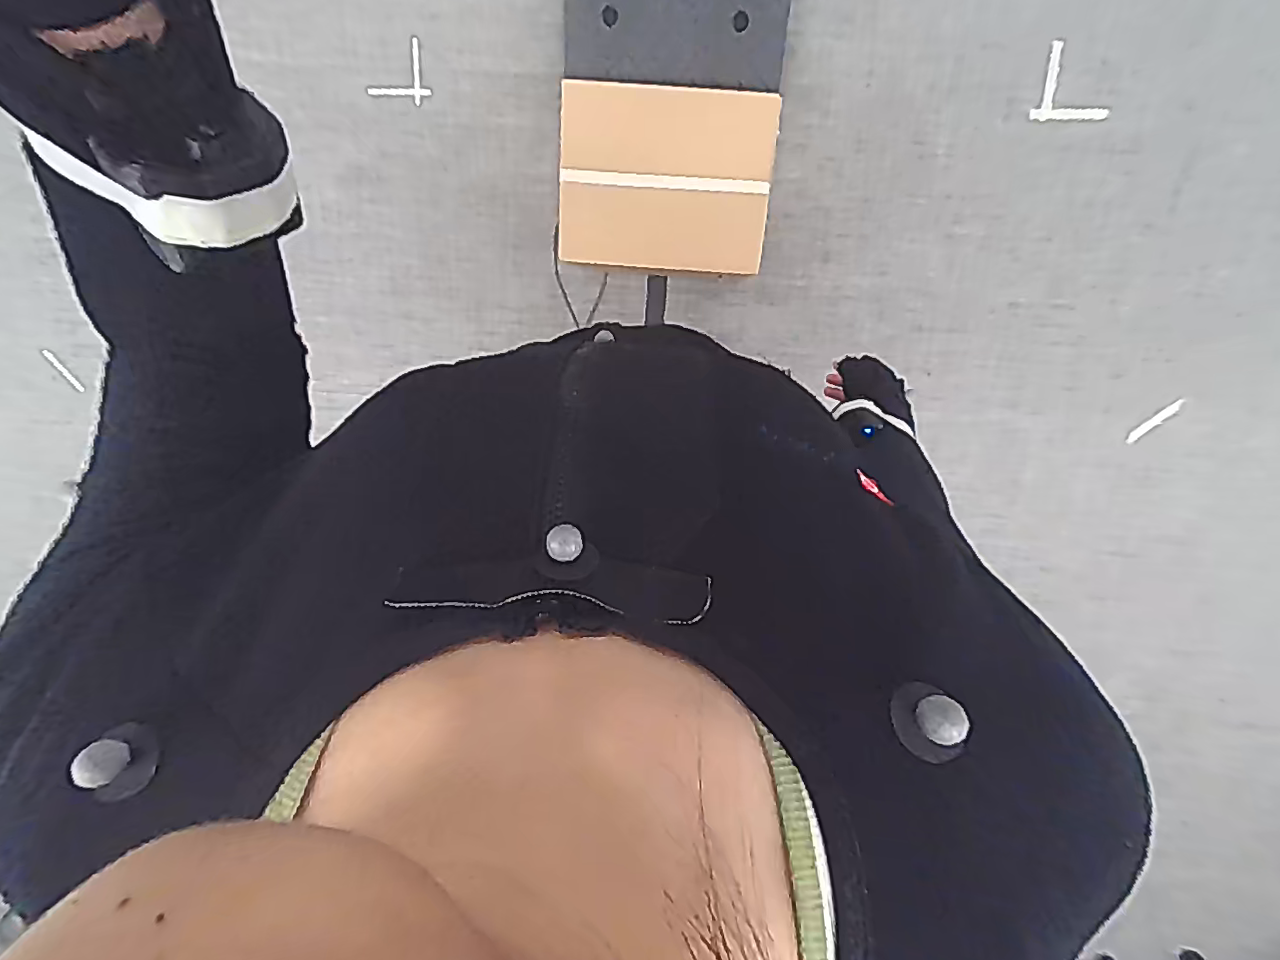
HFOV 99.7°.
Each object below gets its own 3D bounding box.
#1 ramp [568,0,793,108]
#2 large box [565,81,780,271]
[{"bbox_3d":[0.097,-1.213,1.092,0.509,0.206,0.991,2,105,1],"label":"ramp"},{"bbox_3d":[0.062,-0.630,1.181,0.408,0.320,0.320,4,108,1],"label":"large box"}]
